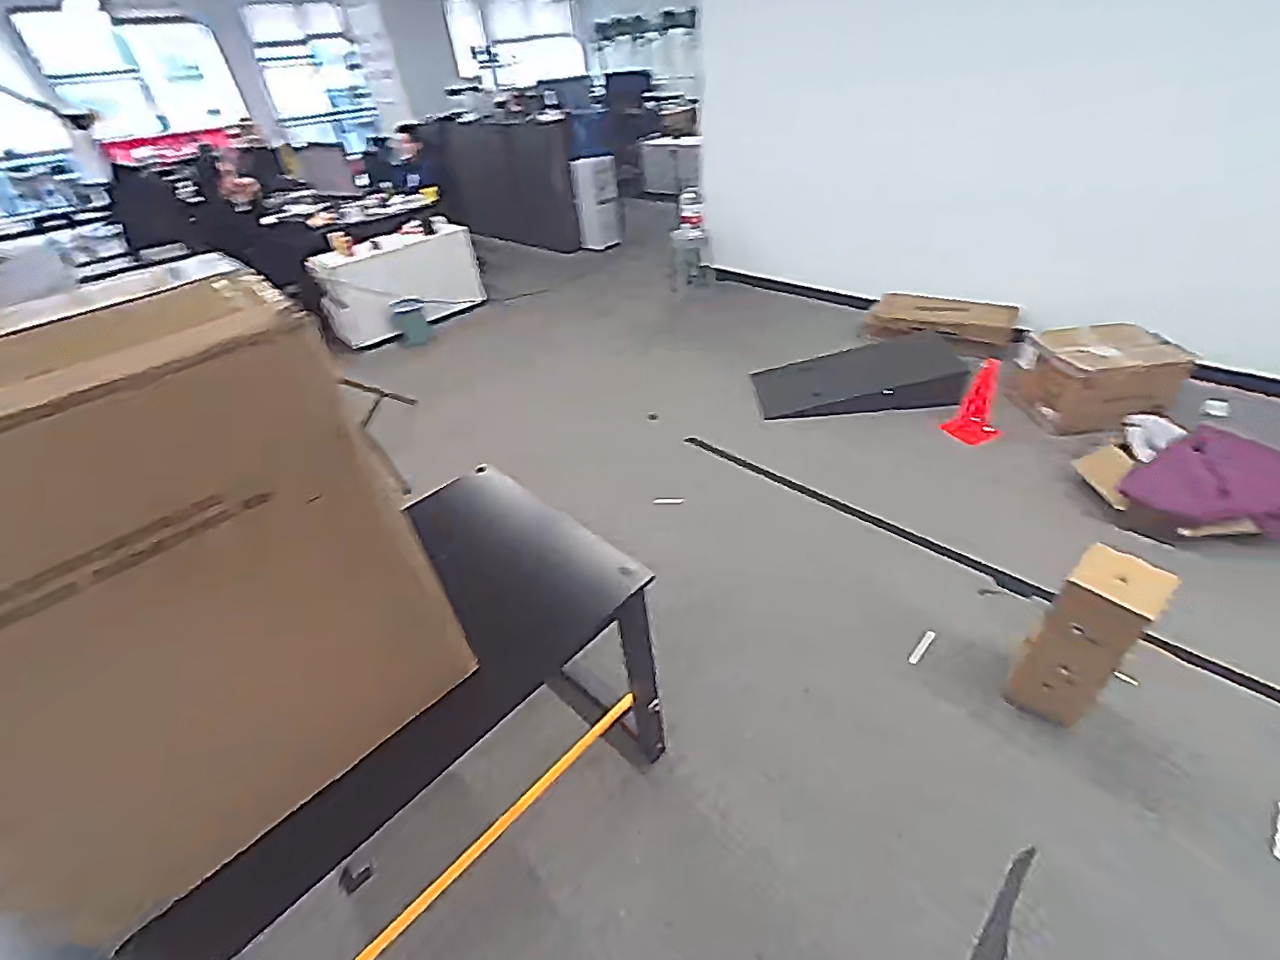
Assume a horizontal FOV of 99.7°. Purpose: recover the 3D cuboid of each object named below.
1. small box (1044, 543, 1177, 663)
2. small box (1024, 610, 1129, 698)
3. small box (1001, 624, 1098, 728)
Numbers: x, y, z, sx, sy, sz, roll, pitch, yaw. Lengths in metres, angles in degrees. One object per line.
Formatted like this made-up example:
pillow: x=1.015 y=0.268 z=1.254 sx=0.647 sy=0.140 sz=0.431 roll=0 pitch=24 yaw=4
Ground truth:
small box: x=1.102 y=0.289 z=1.278 sx=0.179 sy=0.176 sz=0.168 roll=-32 pitch=44 yaw=-27
small box: x=1.121 y=0.413 z=1.382 sx=0.168 sy=0.176 sz=0.179 roll=28 pitch=50 yaw=36
small box: x=1.131 y=0.540 z=1.486 sx=0.179 sy=0.176 sz=0.168 roll=25 pitch=48 yaw=33
